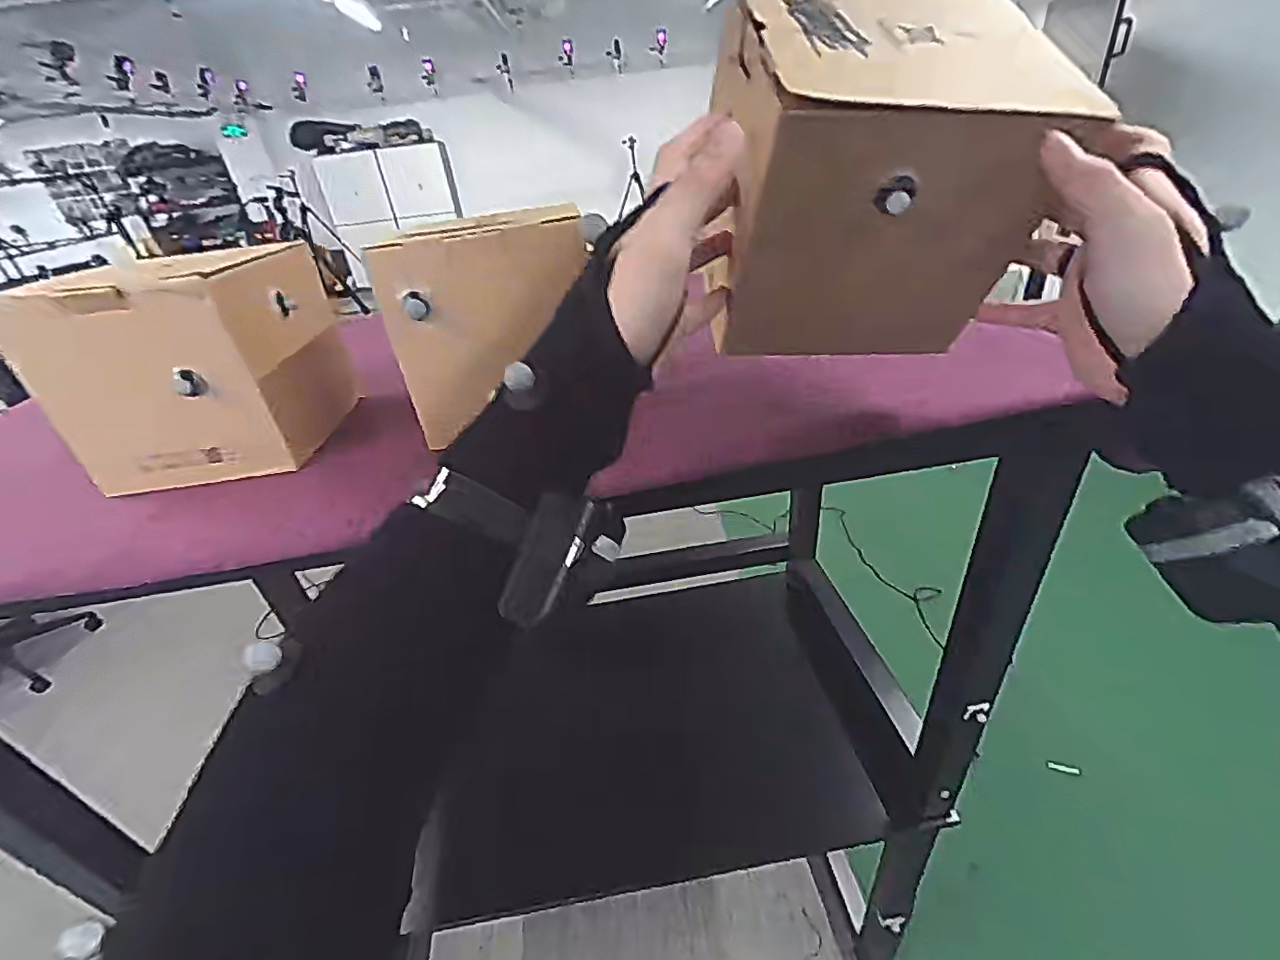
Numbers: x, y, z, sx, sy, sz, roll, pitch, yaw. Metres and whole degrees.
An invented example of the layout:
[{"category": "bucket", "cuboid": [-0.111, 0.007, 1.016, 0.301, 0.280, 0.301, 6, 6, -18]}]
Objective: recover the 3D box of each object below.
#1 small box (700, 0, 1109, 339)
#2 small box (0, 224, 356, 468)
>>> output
[{"category": "small box", "cuboid": [0.140, -0.214, 0.371, 0.179, 0.176, 0.168, -1, 59, -5]}, {"category": "small box", "cuboid": [-0.389, -0.120, 0.489, 0.168, 0.176, 0.179, -7, 31, -2]}]
